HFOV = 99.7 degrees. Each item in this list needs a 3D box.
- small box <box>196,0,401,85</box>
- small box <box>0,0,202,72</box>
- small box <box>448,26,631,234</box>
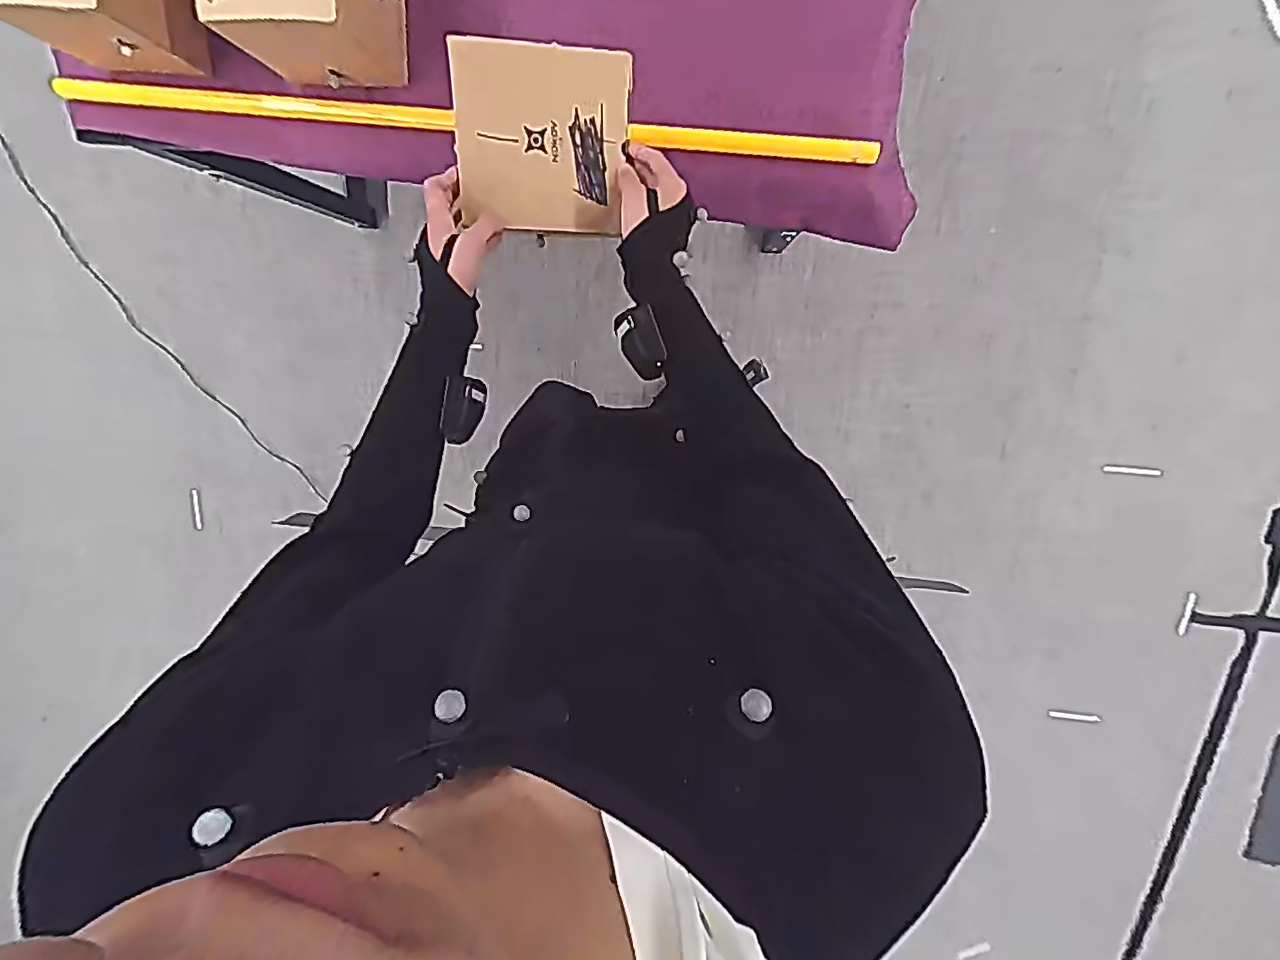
[{"bbox_3d":[-0.423,-0.634,0.689,0.179,0.176,0.168,5,104,3],"label":"small box"},{"bbox_3d":[-0.716,-0.666,0.704,0.179,0.176,0.168,4,104,2],"label":"small box"},{"bbox_3d":[-0.110,-0.377,0.617,0.179,0.176,0.168,-1,112,-8],"label":"small box"}]
